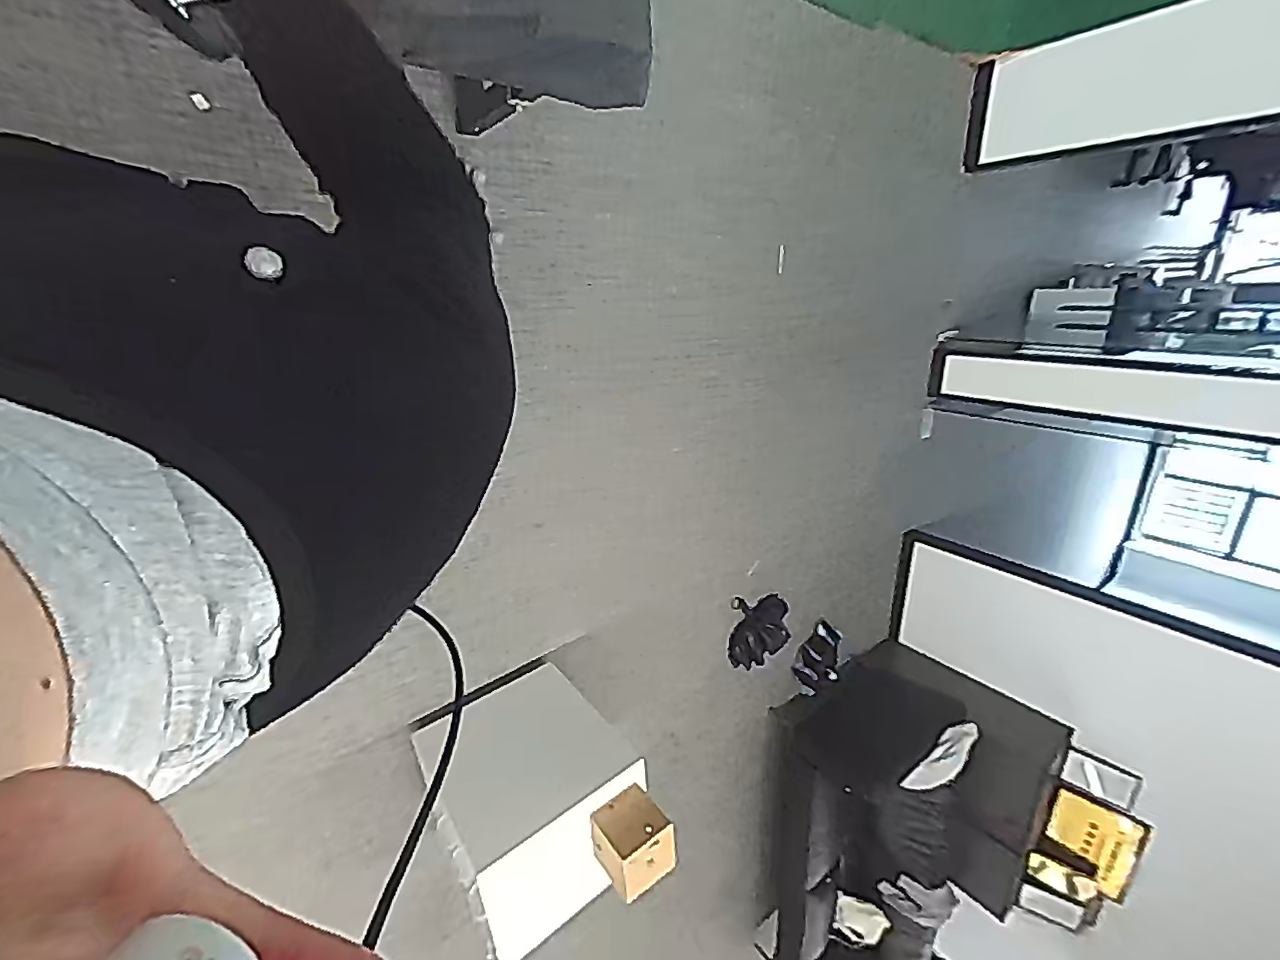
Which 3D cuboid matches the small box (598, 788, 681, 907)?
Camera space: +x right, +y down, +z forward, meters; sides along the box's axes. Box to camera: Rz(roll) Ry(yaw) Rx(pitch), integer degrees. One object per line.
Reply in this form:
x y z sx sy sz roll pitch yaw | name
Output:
-0.003 1.002 1.491 0.168 0.176 0.179 -19 117 -32 | small box
